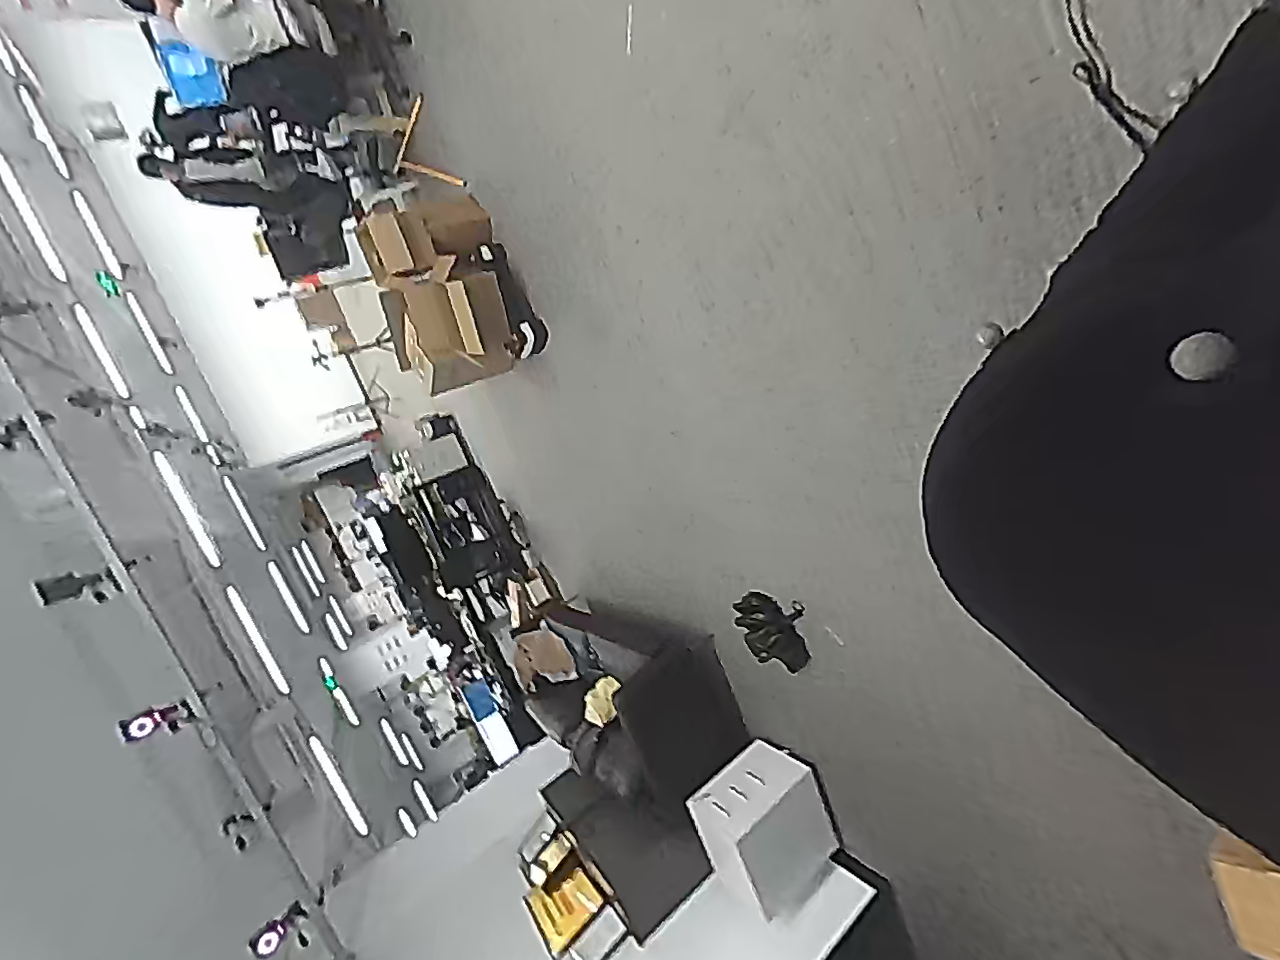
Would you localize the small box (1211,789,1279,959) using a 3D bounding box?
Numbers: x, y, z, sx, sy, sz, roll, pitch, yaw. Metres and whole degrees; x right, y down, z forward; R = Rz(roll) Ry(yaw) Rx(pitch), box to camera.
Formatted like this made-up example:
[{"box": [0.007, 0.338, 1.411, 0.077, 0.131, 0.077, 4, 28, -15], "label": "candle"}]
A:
[{"box": [0.975, 0.591, 0.775, 0.168, 0.176, 0.179, -13, 101, 61], "label": "small box"}]
